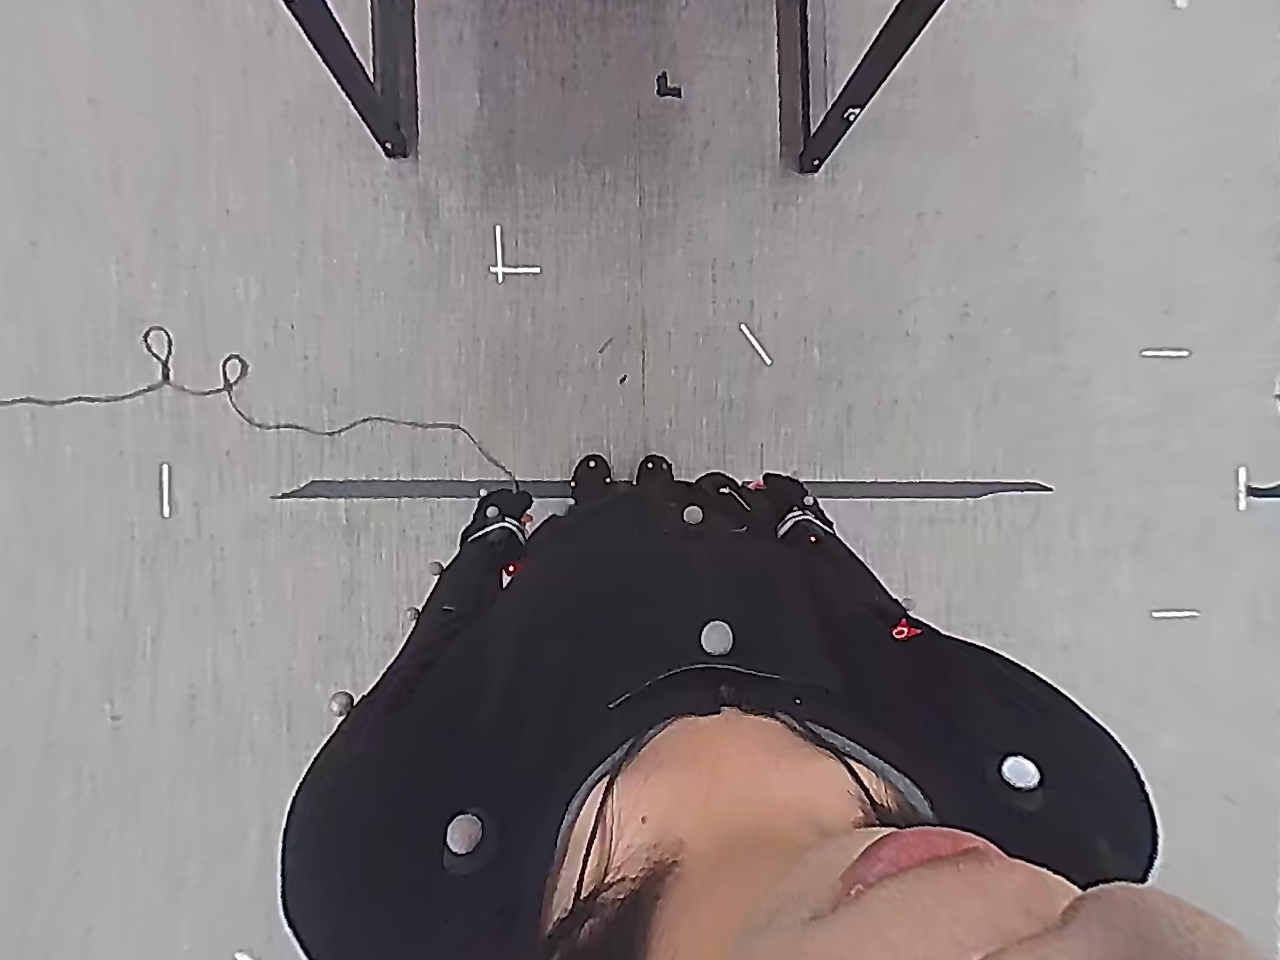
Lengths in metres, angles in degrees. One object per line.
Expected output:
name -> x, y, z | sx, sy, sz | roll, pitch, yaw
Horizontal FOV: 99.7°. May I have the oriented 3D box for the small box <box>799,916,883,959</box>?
small box -> 0.560, 1.367, 1.505 | 0.179, 0.176, 0.168 | 12, 90, -5
